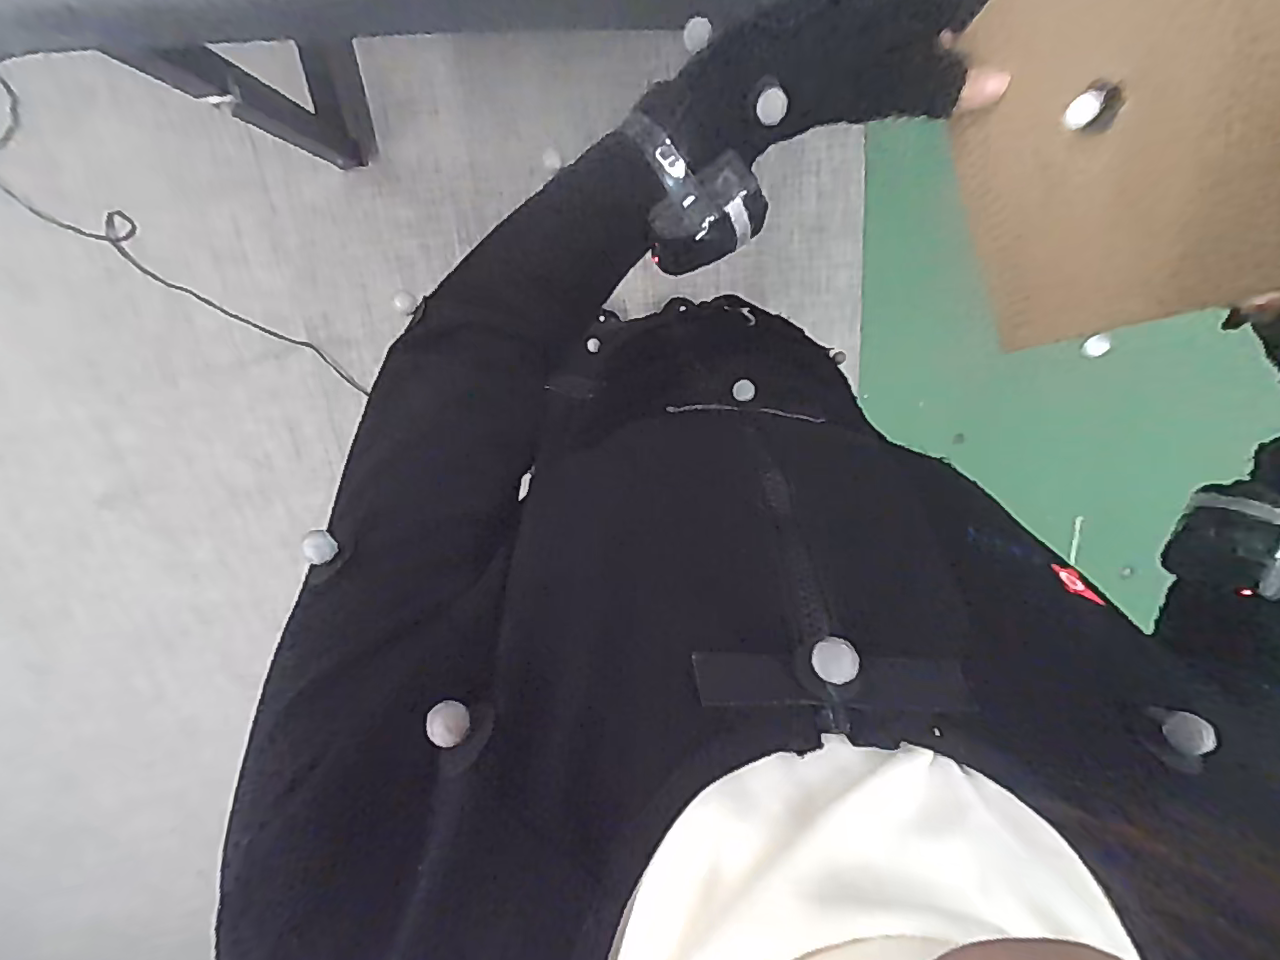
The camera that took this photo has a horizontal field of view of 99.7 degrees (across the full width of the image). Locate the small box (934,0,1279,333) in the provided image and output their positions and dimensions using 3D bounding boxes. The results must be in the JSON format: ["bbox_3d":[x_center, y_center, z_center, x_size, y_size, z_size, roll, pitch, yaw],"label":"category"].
[{"bbox_3d":[0.275,-0.179,0.250,0.168,0.176,0.179,-17,93,-2],"label":"small box"}]
